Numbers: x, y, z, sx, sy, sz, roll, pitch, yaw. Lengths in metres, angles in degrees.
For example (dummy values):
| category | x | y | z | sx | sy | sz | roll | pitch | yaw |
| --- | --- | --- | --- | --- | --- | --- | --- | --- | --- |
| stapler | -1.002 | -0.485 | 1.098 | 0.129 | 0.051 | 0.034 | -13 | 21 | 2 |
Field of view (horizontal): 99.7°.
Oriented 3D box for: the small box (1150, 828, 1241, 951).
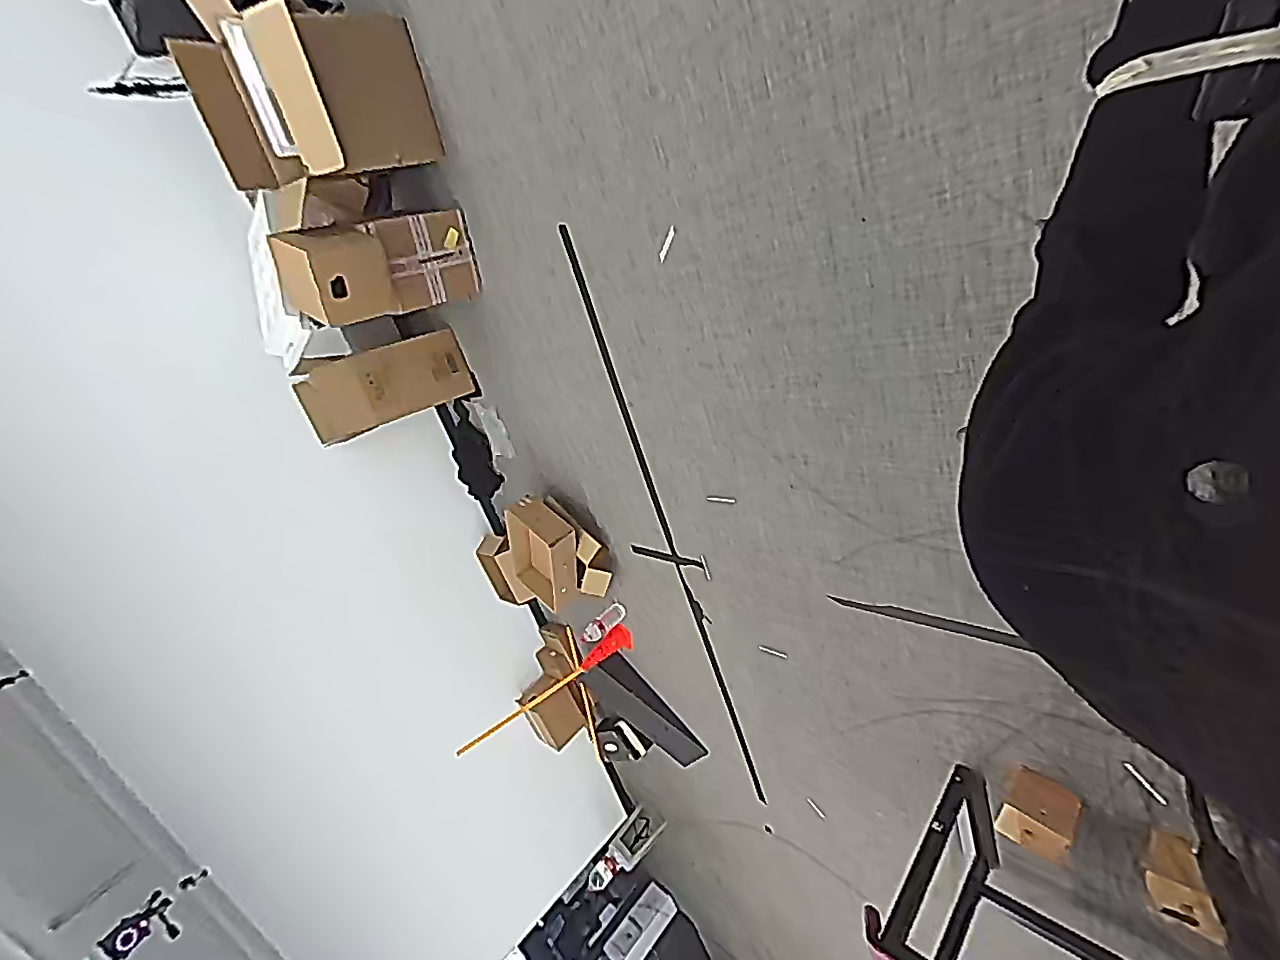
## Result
| category | x | y | z | sx | sy | sz | roll | pitch | yaw |
| --- | --- | --- | --- | --- | --- | --- | --- | --- | --- |
| small box | 1.544 | 1.130 | 1.504 | 0.168 | 0.176 | 0.179 | 4 | 119 | 49 |

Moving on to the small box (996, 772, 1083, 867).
| category | x | y | z | sx | sy | sz | roll | pitch | yaw |
| --- | --- | --- | --- | --- | --- | --- | --- | --- | --- |
| small box | 1.305 | 1.096 | 1.767 | 0.179 | 0.176 | 0.168 | 22 | 132 | 37 |
